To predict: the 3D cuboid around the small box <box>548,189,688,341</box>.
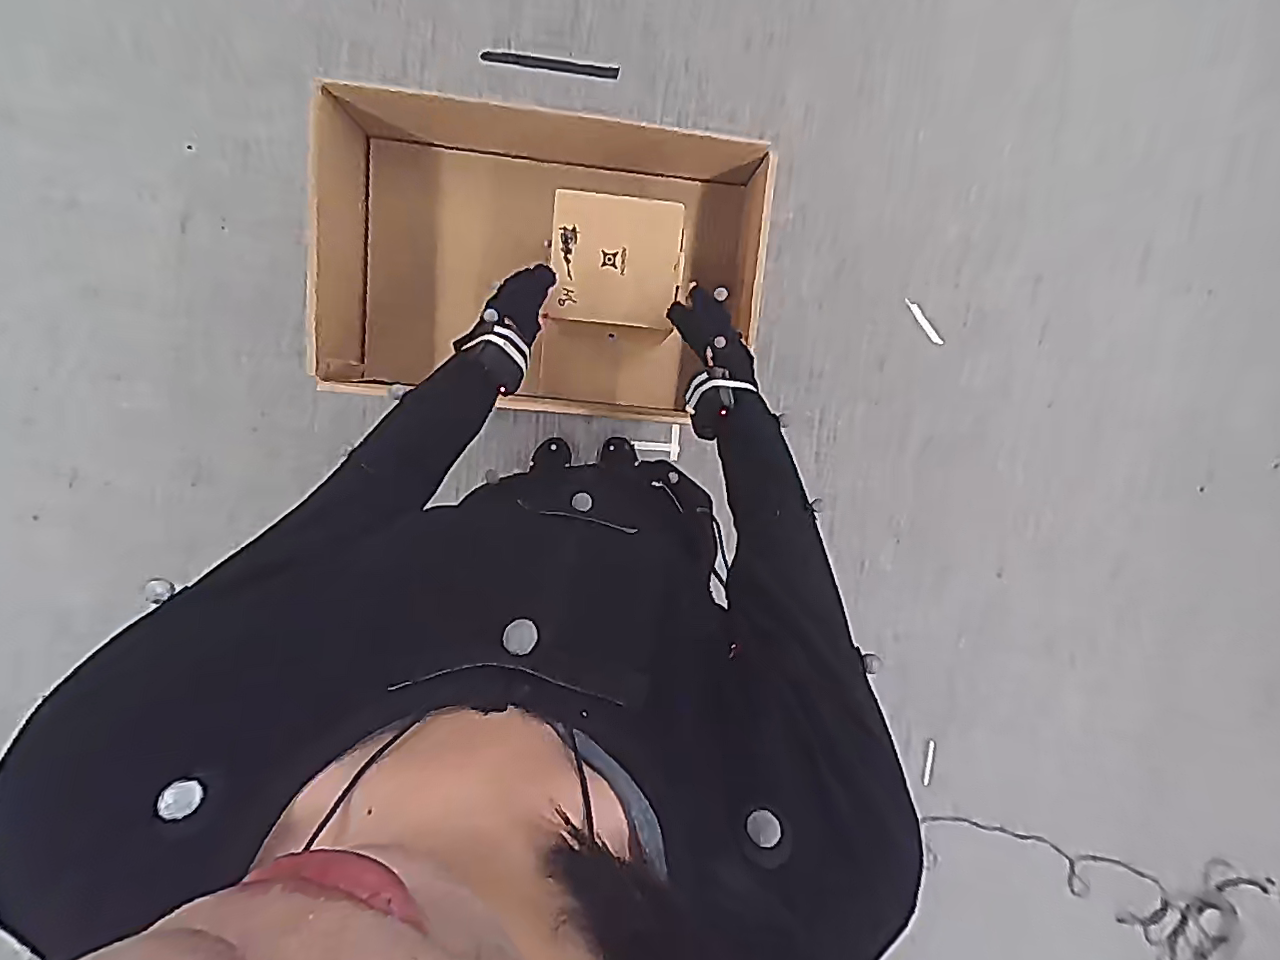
[{"bbox_3d":[-0.035,-0.303,0.799,0.179,0.176,0.168,5,98,-4],"label":"small box"}]
